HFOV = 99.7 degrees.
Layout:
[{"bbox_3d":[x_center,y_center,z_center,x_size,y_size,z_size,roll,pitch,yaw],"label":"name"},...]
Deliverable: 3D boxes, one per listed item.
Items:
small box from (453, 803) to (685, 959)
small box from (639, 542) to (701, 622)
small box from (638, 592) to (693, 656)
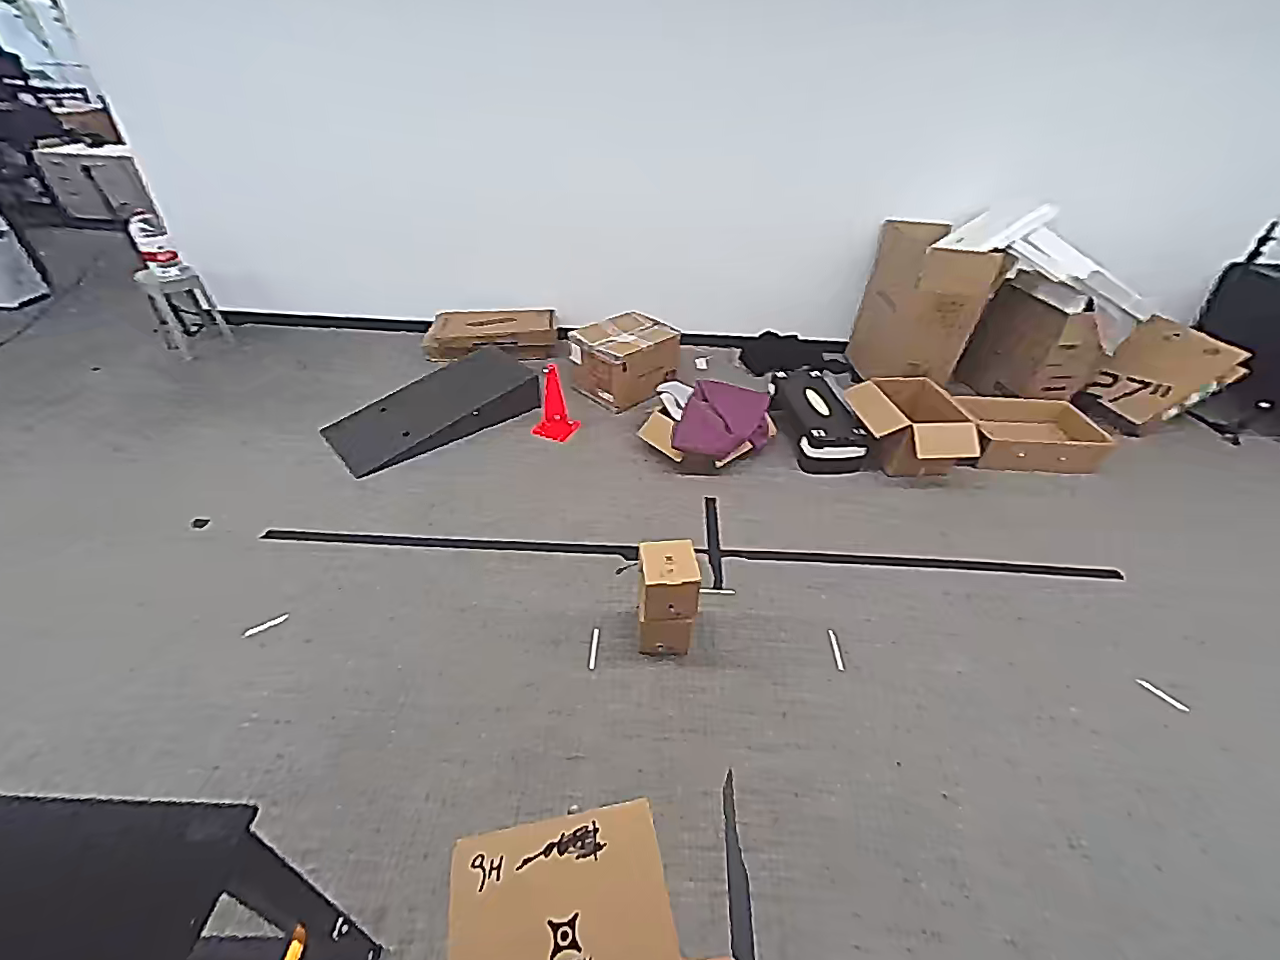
[{"bbox_3d":[-0.051,0.400,0.440,0.168,0.176,0.179,-7,43,-10],"label":"small box"},{"bbox_3d":[0.086,0.315,1.678,0.168,0.176,0.179,-4,38,-5],"label":"small box"},{"bbox_3d":[0.079,0.453,1.770,0.168,0.176,0.179,0,39,-2],"label":"small box"}]
